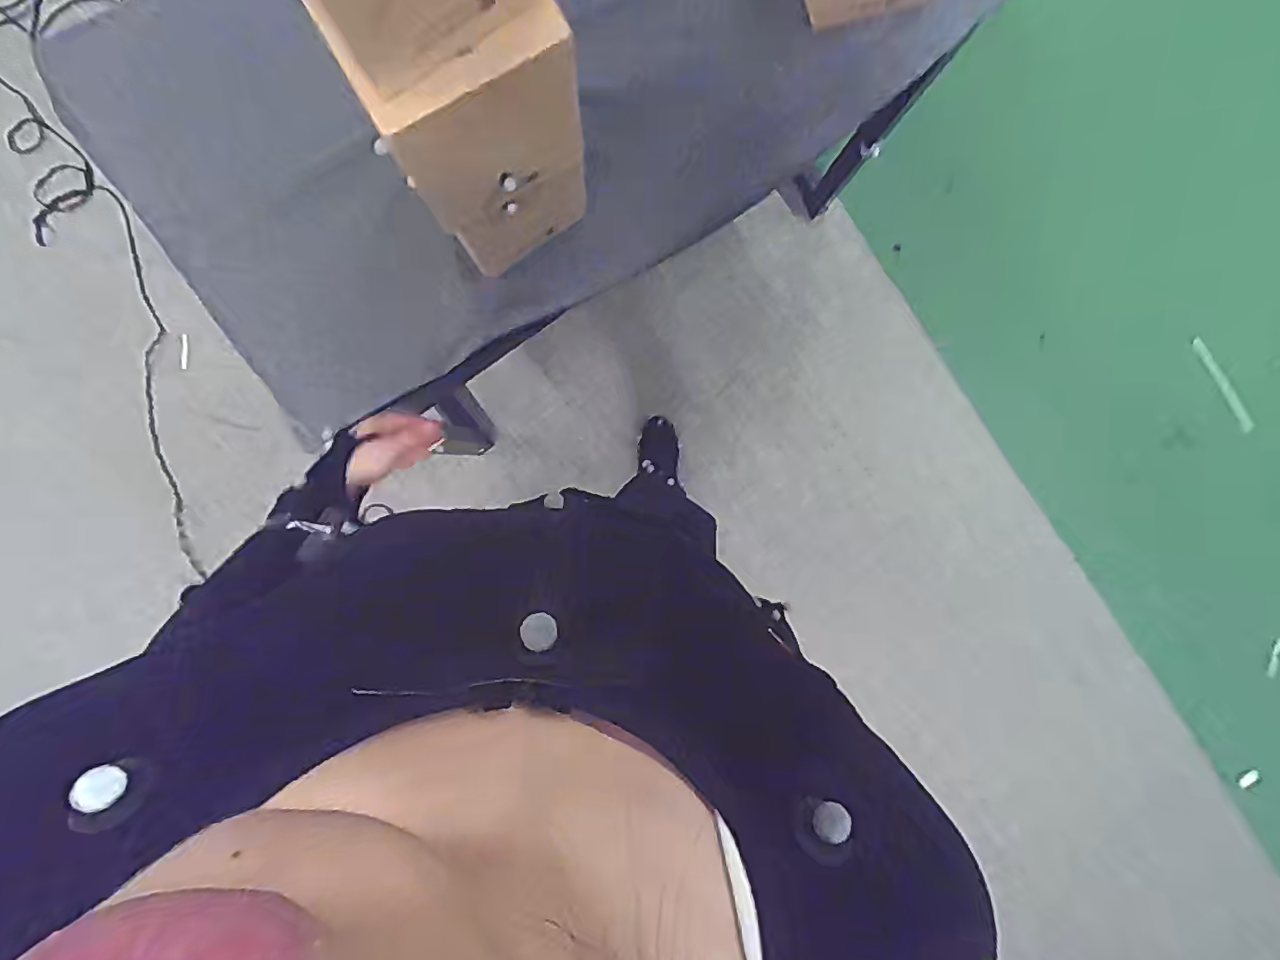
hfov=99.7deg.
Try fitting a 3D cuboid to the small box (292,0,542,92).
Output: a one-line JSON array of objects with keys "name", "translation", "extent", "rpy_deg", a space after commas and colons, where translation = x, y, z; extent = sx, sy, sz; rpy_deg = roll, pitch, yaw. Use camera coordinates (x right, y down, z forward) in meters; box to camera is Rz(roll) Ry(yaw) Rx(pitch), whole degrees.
[{"name": "small box", "translation": [-0.172, -0.381, 0.319], "extent": [0.168, 0.176, 0.179], "rpy_deg": [-35, 92, -1]}]

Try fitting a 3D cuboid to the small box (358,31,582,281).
[{"name": "small box", "translation": [-0.186, -0.375, 0.647], "extent": [0.168, 0.176, 0.179], "rpy_deg": [-35, 92, -2]}]
